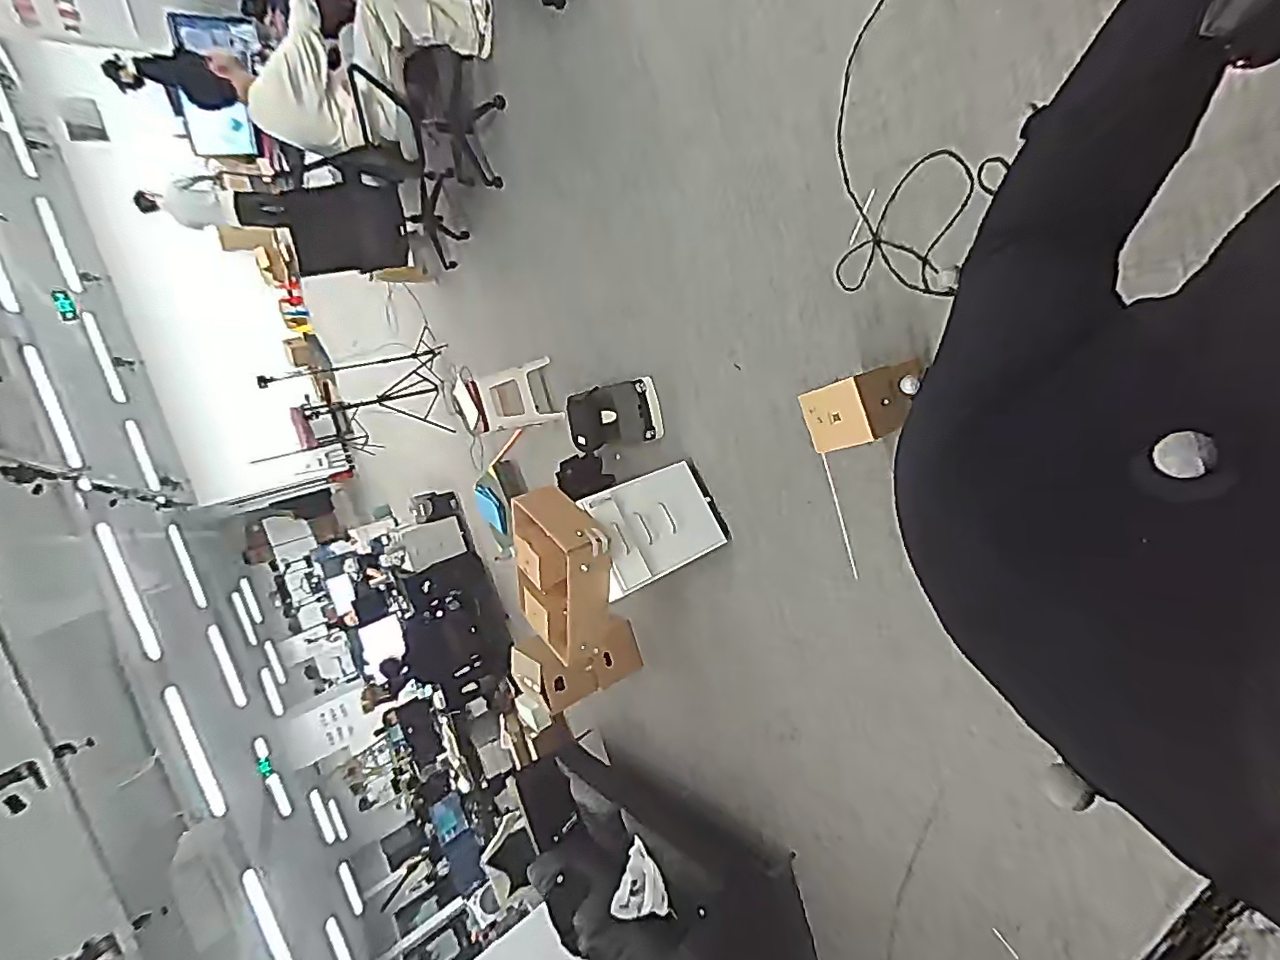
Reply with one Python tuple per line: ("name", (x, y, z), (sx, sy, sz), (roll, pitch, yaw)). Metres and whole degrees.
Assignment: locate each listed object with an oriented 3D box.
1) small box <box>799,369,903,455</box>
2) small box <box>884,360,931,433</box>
("small box", (0.556, -0.178, 1.410), (0.179, 0.176, 0.168), (-16, 95, 57))
("small box", (0.681, -0.222, 1.508), (0.179, 0.176, 0.168), (-13, 97, 57))
